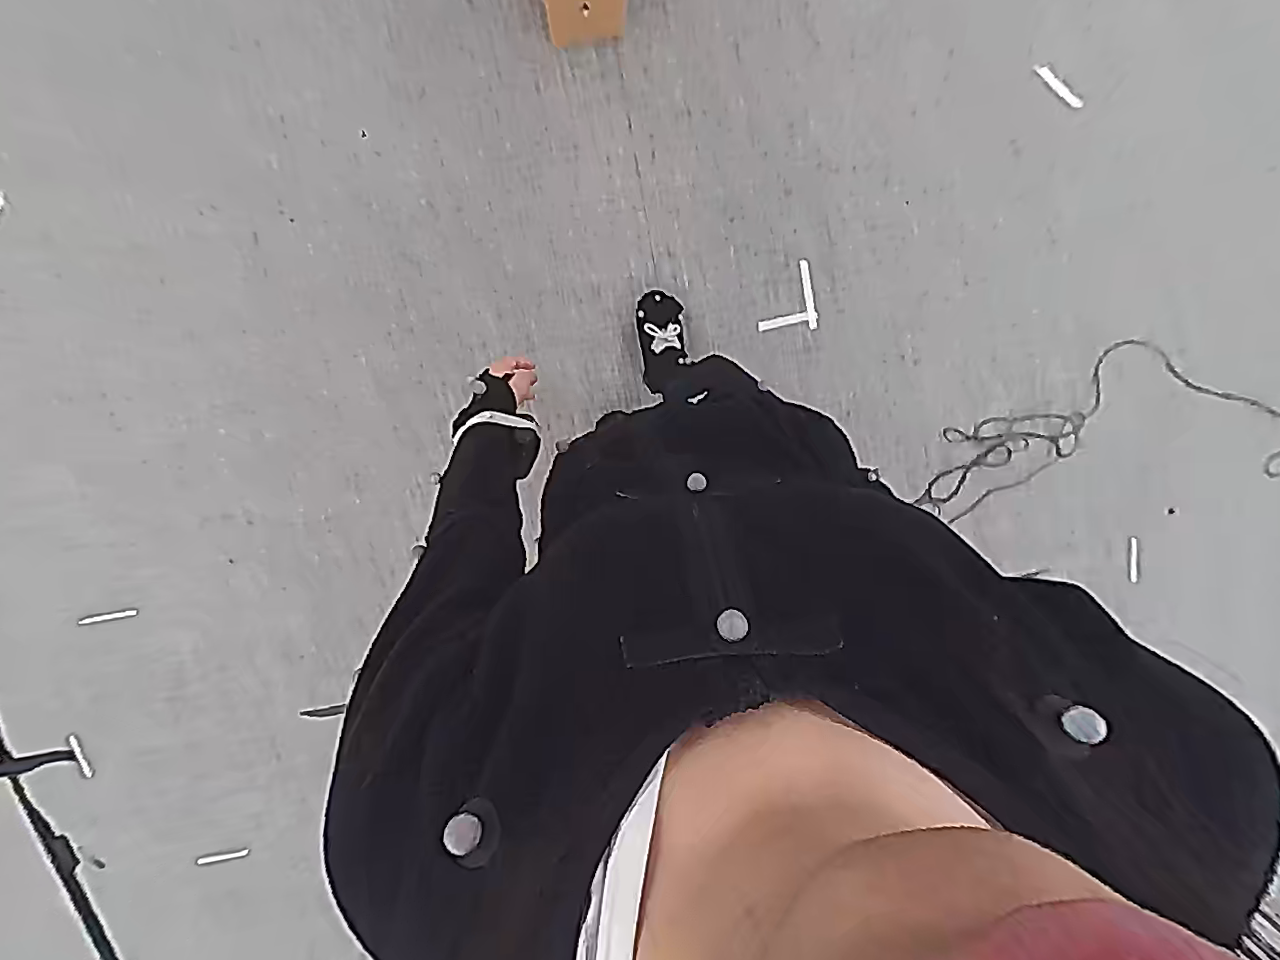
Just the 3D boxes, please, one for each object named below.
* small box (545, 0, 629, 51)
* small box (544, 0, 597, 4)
[{"bbox_3d":[-0.125,-1.086,1.183,0.179,0.176,0.168,-11,102,-1],"label":"small box"},{"bbox_3d":[-0.122,-1.049,1.023,0.179,0.176,0.168,-8,103,-1],"label":"small box"}]
